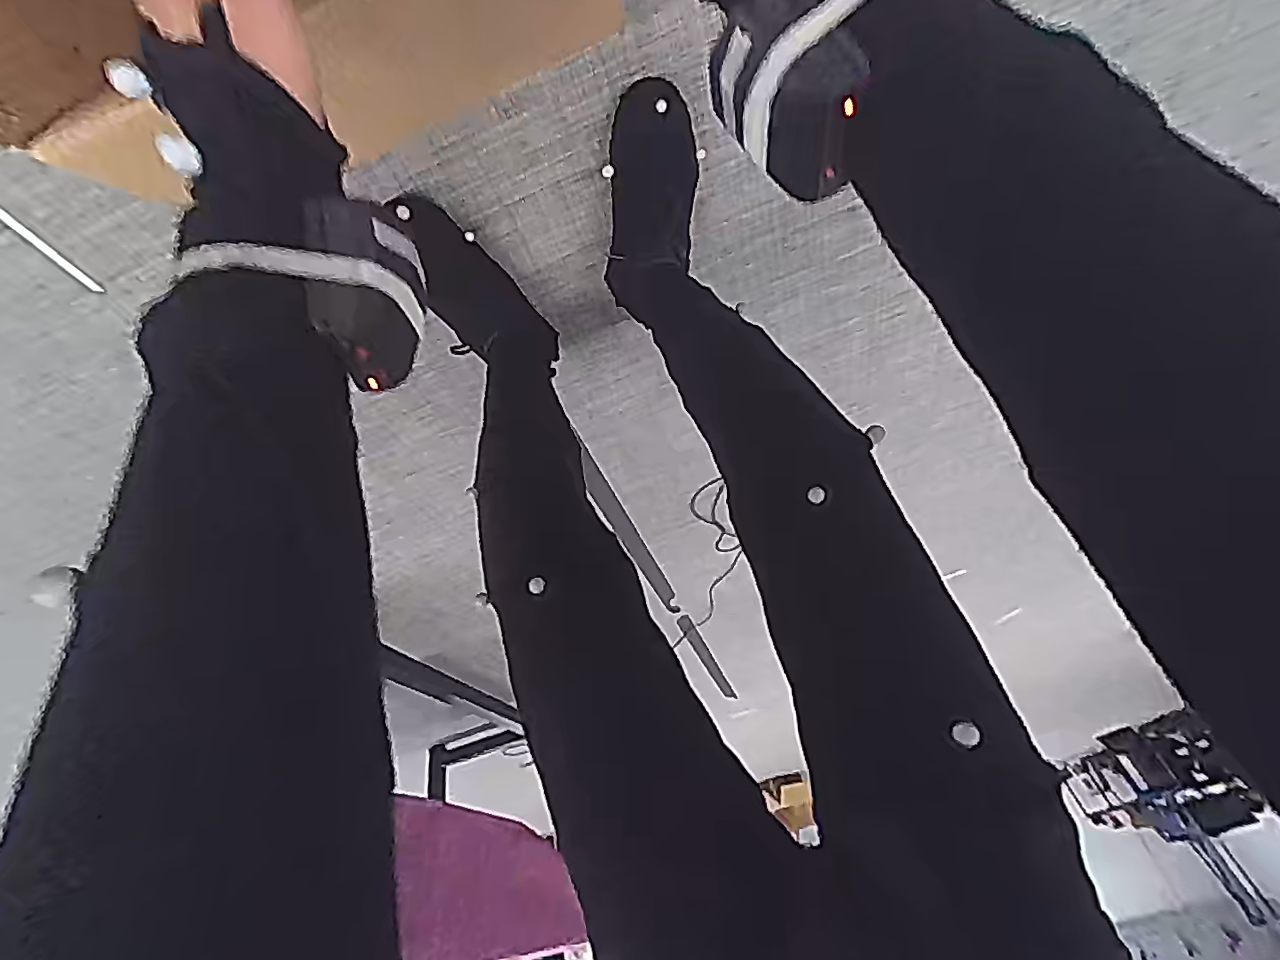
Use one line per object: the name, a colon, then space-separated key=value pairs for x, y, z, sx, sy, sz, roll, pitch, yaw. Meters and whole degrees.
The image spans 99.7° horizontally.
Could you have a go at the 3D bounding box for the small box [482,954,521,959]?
small box: x=-0.428 y=1.412 z=1.460 sx=0.179 sy=0.176 sz=0.168 roll=-31 pitch=139 yaw=17
